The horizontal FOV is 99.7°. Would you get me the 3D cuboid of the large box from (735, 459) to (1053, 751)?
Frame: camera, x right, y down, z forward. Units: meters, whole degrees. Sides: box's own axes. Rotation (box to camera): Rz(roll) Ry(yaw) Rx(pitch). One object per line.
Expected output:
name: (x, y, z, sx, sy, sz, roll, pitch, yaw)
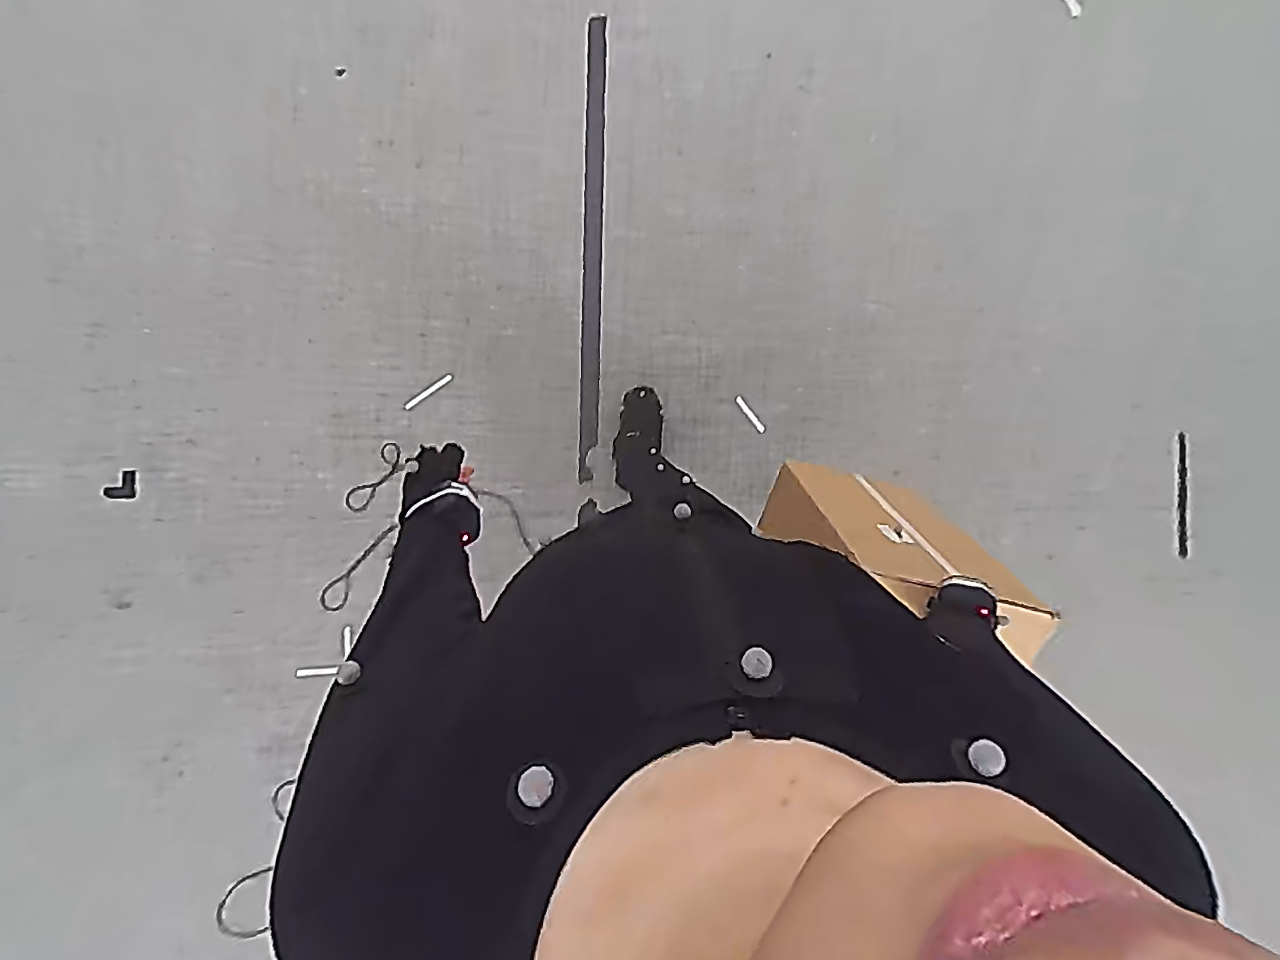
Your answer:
large box: (0.406, 0.206, 0.999, 0.320, 0.408, 0.320, 13, 113, -8)
